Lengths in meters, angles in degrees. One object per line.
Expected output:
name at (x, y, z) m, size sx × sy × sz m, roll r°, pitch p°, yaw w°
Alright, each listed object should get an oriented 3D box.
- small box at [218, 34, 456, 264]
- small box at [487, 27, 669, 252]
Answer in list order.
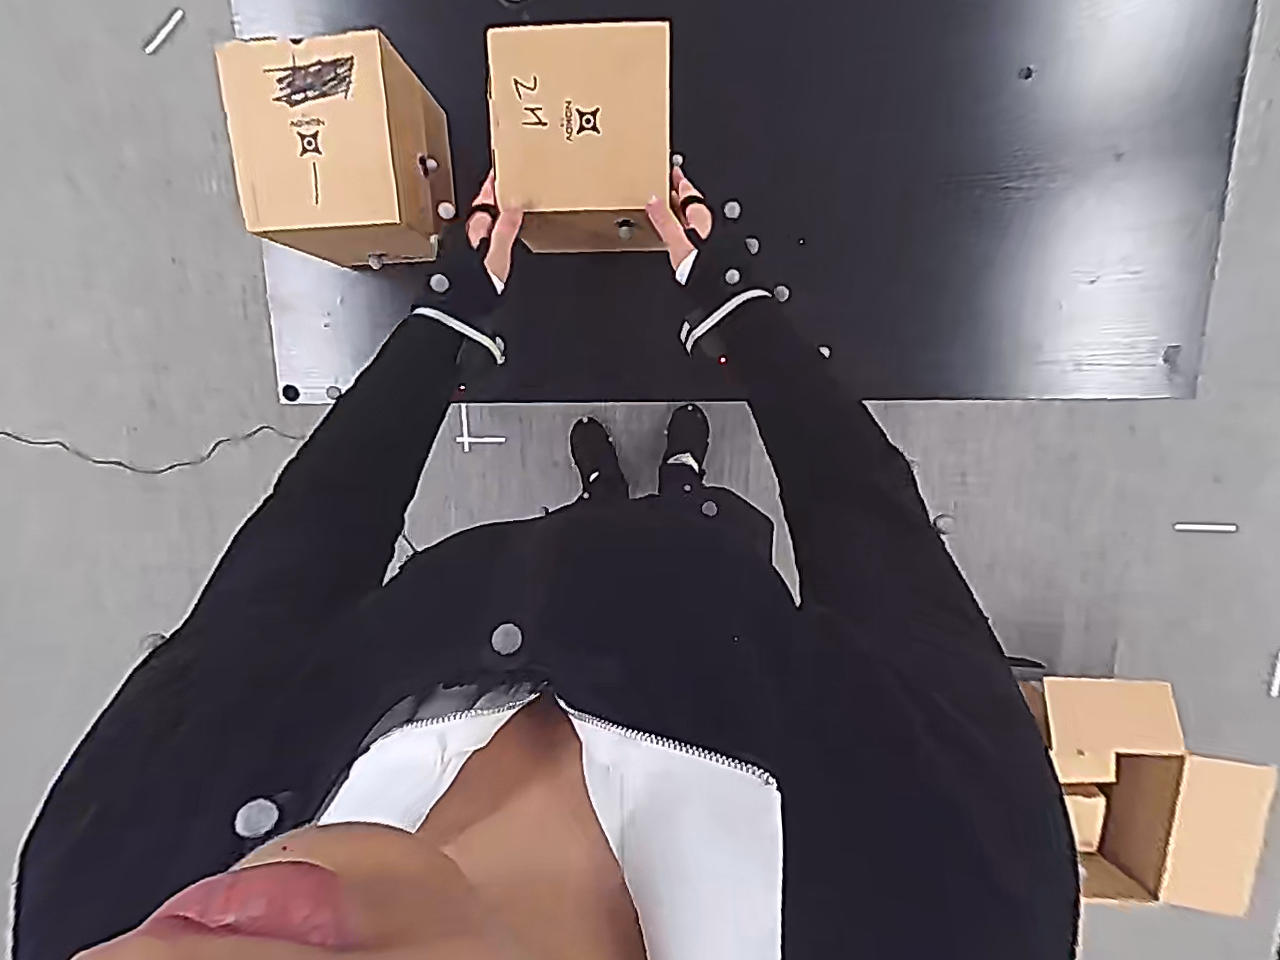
small box at (-0.325, -0.359, 0.618) m, size 0.168 × 0.176 × 0.179 m, roll -2°, pitch 101°, yaw 3°
small box at (-0.058, -0.362, 0.606) m, size 0.179 × 0.176 × 0.168 m, roll 0°, pitch 100°, yaw 3°
